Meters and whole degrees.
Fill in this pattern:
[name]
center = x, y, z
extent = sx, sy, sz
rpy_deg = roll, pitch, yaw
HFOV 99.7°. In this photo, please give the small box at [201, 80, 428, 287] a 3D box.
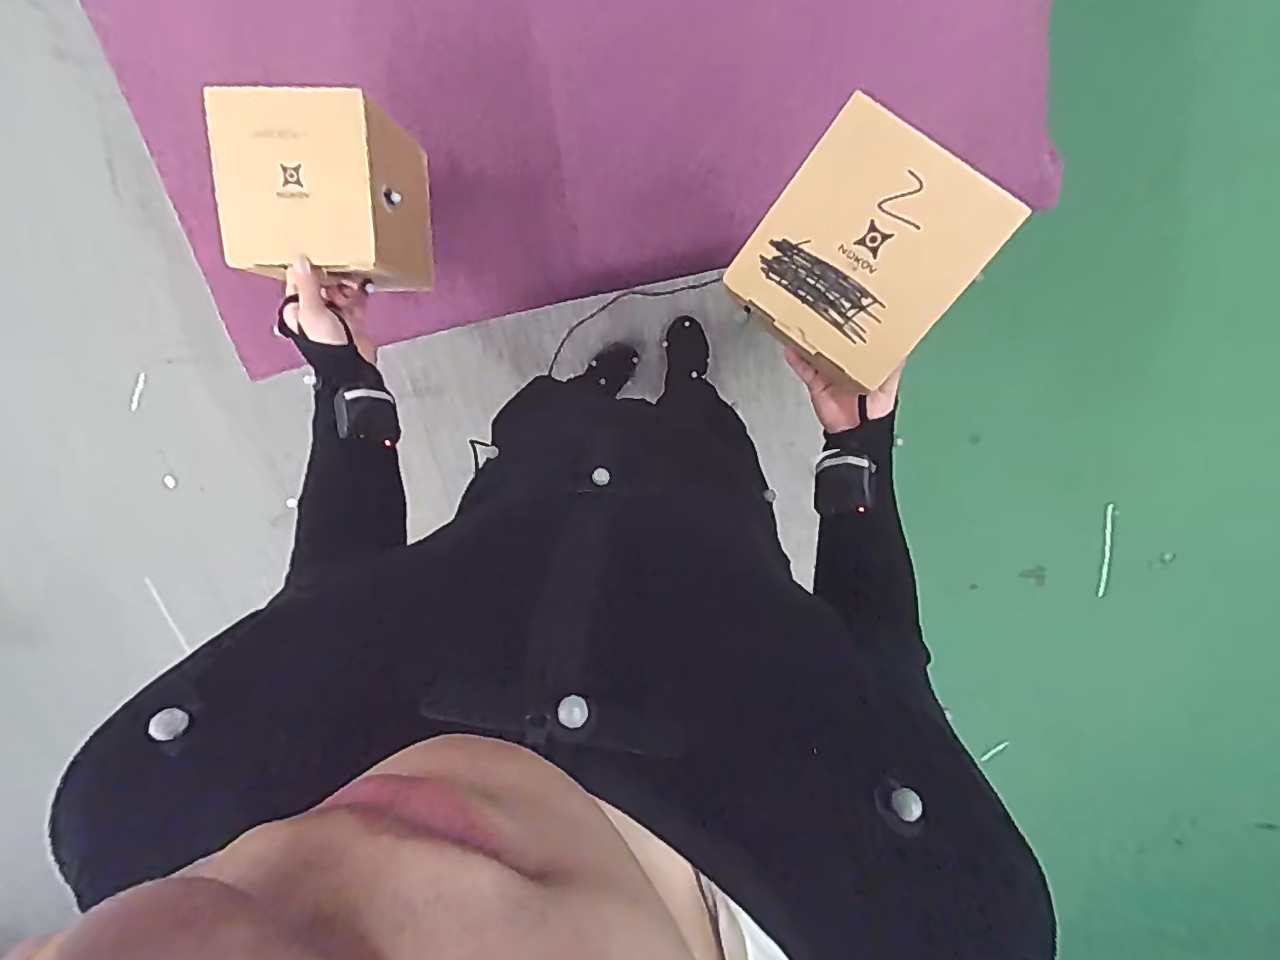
[small box]
center = -0.364, -0.331, 0.640
extent = 0.168, 0.176, 0.179
rpy_deg = 2, 101, 0
